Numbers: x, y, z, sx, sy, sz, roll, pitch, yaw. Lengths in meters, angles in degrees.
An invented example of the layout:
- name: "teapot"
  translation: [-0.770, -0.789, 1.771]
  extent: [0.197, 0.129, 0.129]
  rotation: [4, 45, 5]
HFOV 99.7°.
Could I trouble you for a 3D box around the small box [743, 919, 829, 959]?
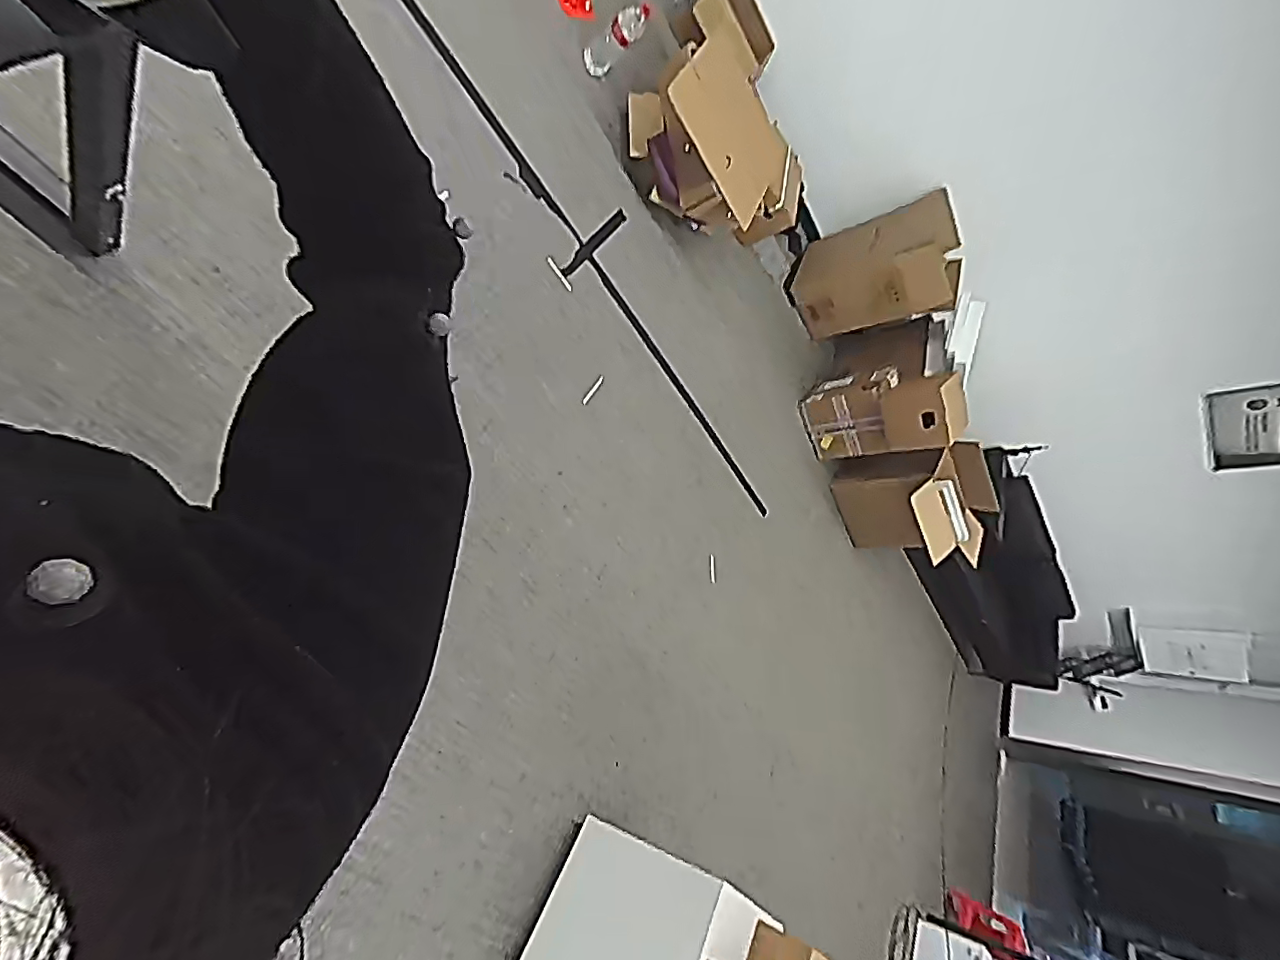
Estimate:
- name: "small box"
  translation: [0.389, 1.329, 1.455]
  extent: [0.179, 0.176, 0.168]
  rotation: [52, 52, -26]
